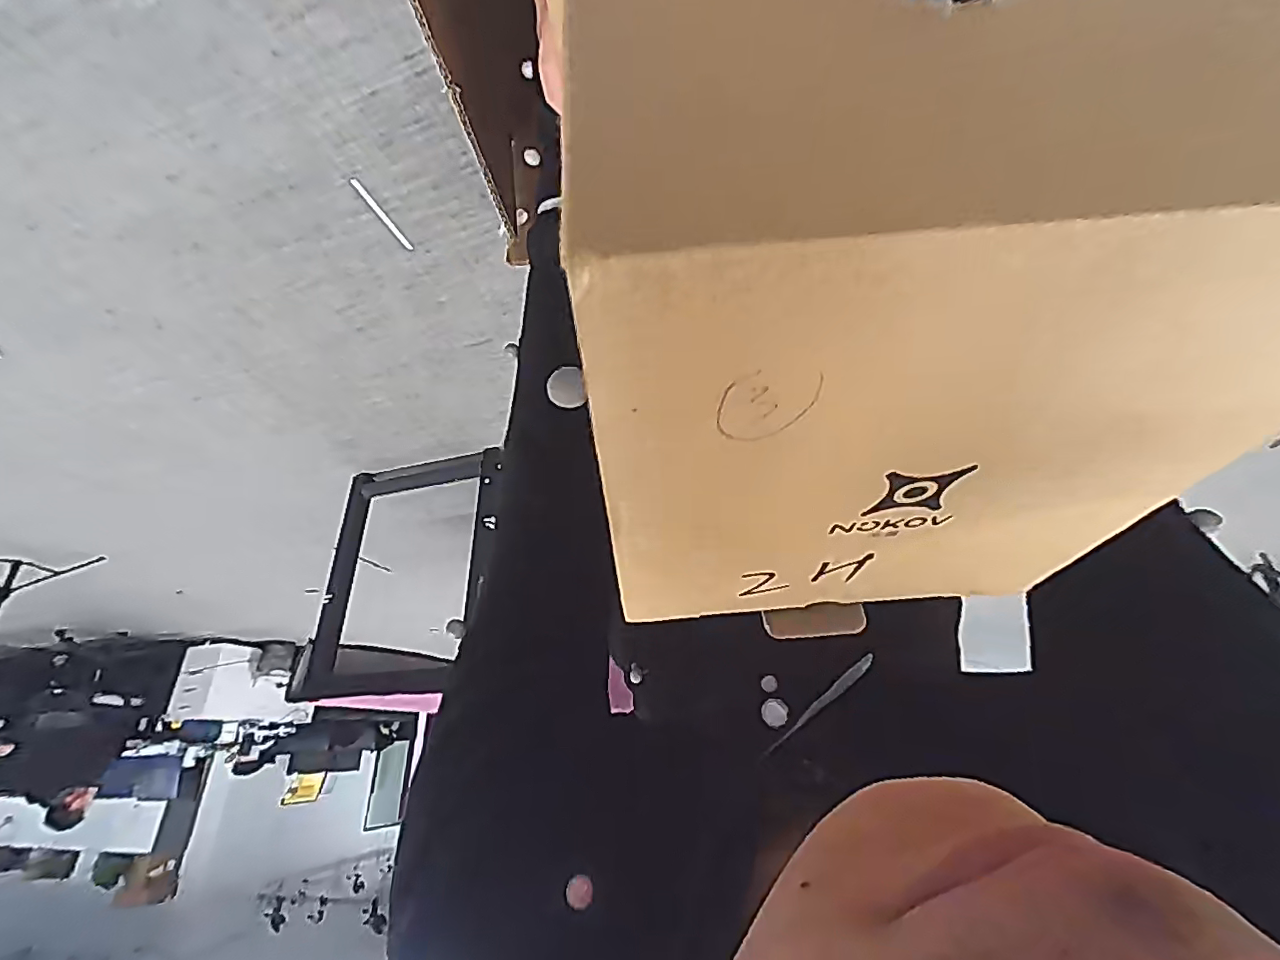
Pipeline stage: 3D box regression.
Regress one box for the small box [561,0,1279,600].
[{"bbox_3d":[0.063,-0.071,0.191,0.168,0.176,0.179,-4,149,-1],"label":"small box"}]
